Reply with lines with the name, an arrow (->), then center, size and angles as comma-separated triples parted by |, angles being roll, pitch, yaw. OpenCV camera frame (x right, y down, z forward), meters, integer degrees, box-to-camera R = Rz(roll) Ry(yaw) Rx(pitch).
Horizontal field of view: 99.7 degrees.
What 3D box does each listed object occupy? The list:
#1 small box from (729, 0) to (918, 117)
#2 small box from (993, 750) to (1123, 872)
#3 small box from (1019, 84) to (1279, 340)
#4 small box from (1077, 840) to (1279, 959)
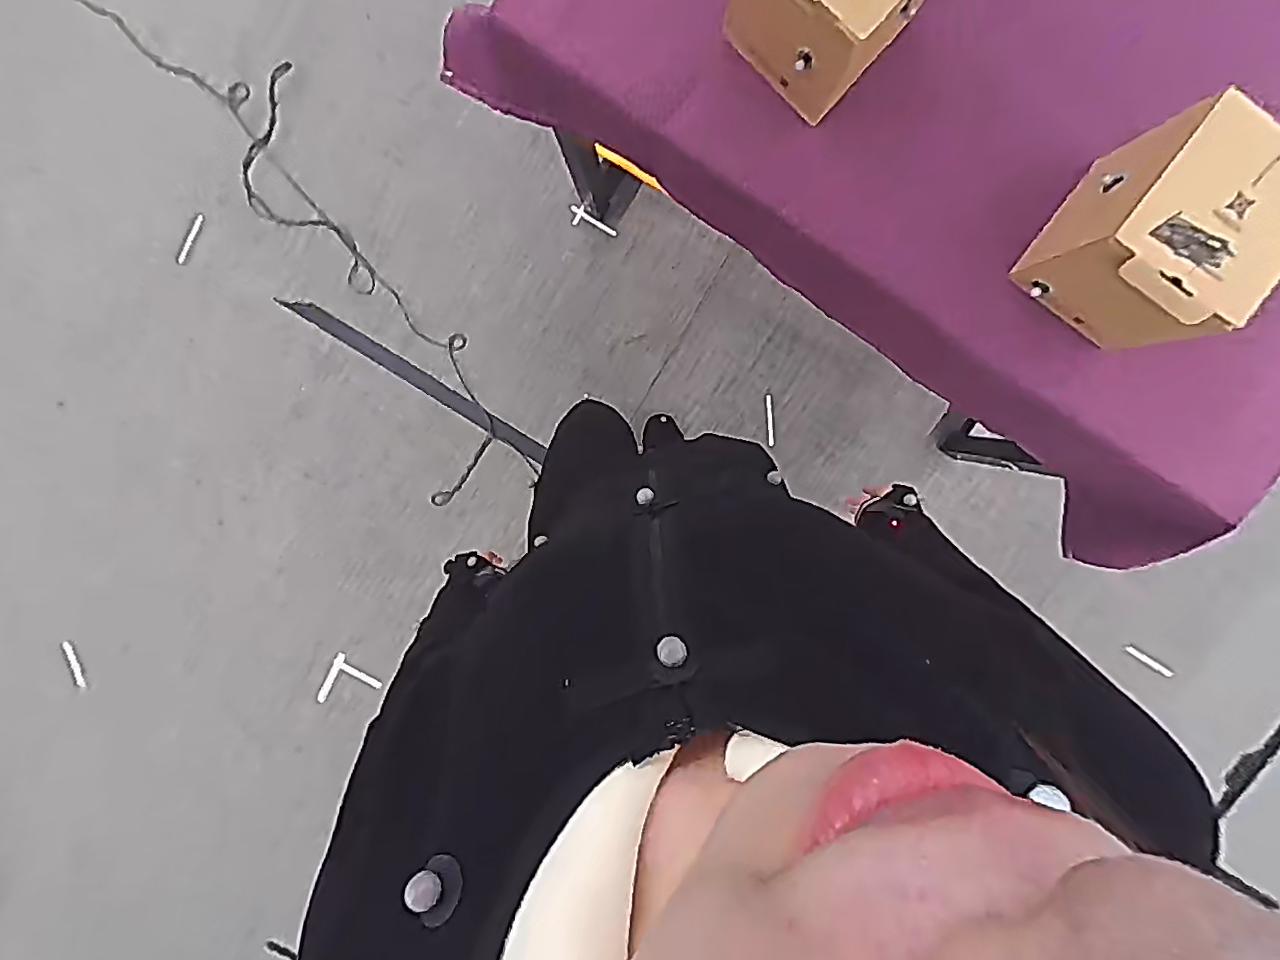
small box -> 0.215, -0.558, 0.597 | 0.168, 0.176, 0.179 | 43, 97, -5
small box -> 0.999, 0.792, 1.312 | 0.168, 0.176, 0.179 | 11, 101, 4
small box -> 0.588, -0.283, 0.622 | 0.168, 0.176, 0.179 | 35, 96, -3
small box -> 0.960, 0.810, 0.983 | 0.168, 0.176, 0.179 | 25, 101, 3
